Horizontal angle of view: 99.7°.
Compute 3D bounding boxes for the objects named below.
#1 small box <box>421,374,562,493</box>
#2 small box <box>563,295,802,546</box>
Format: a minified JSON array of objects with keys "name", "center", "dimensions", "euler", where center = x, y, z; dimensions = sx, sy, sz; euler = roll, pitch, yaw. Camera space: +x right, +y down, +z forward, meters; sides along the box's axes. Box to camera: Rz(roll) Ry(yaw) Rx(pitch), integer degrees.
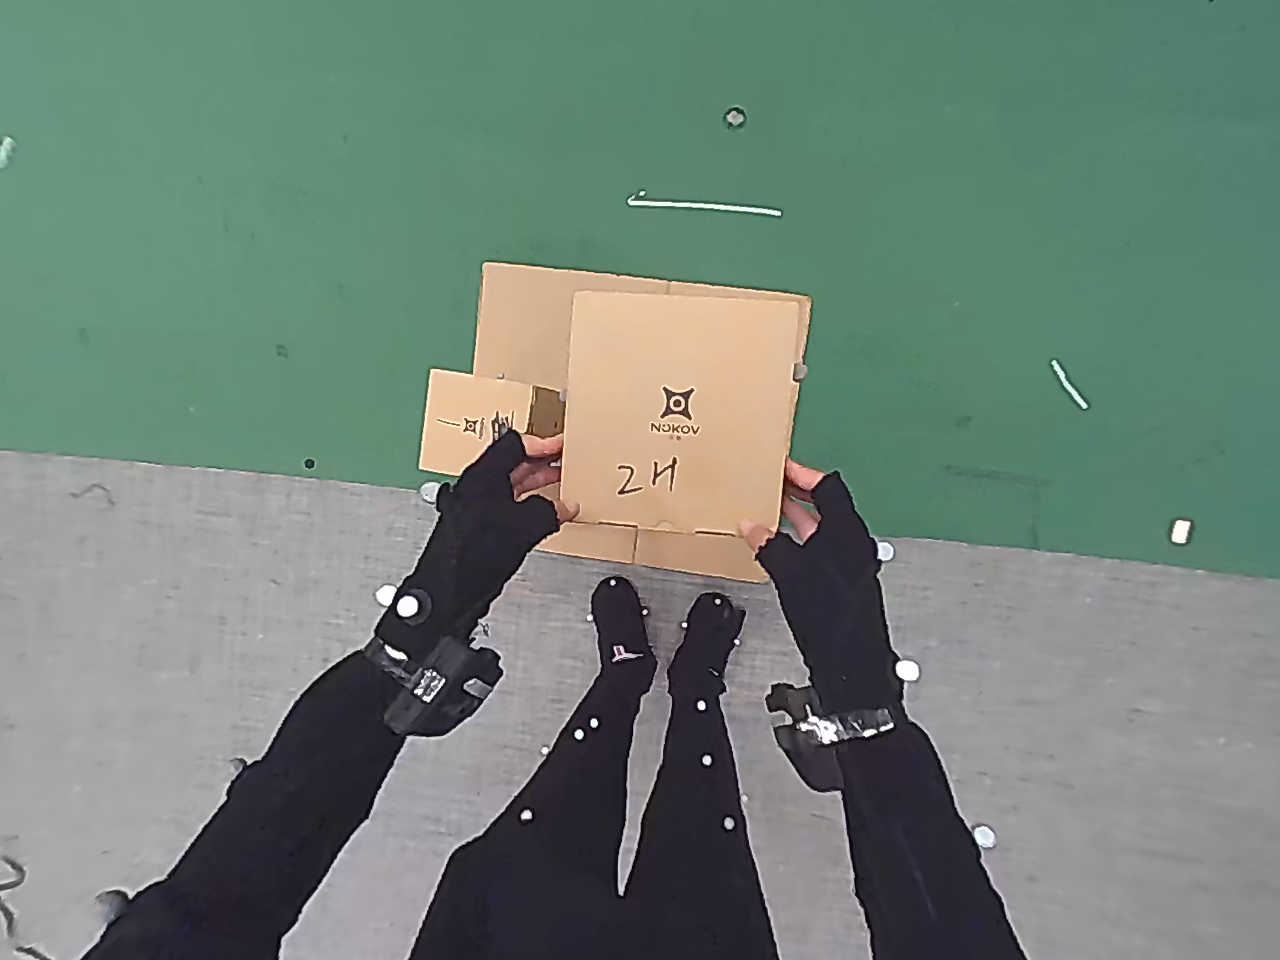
[{"name":"small box","center":[-0.245,-0.080,0.933],"dimensions":[0.179,0.176,0.168],"euler":[10,95,7]},{"name":"small box","center":[0.036,-0.048,0.480],"dimensions":[0.168,0.176,0.179],"euler":[5,94,6]}]
